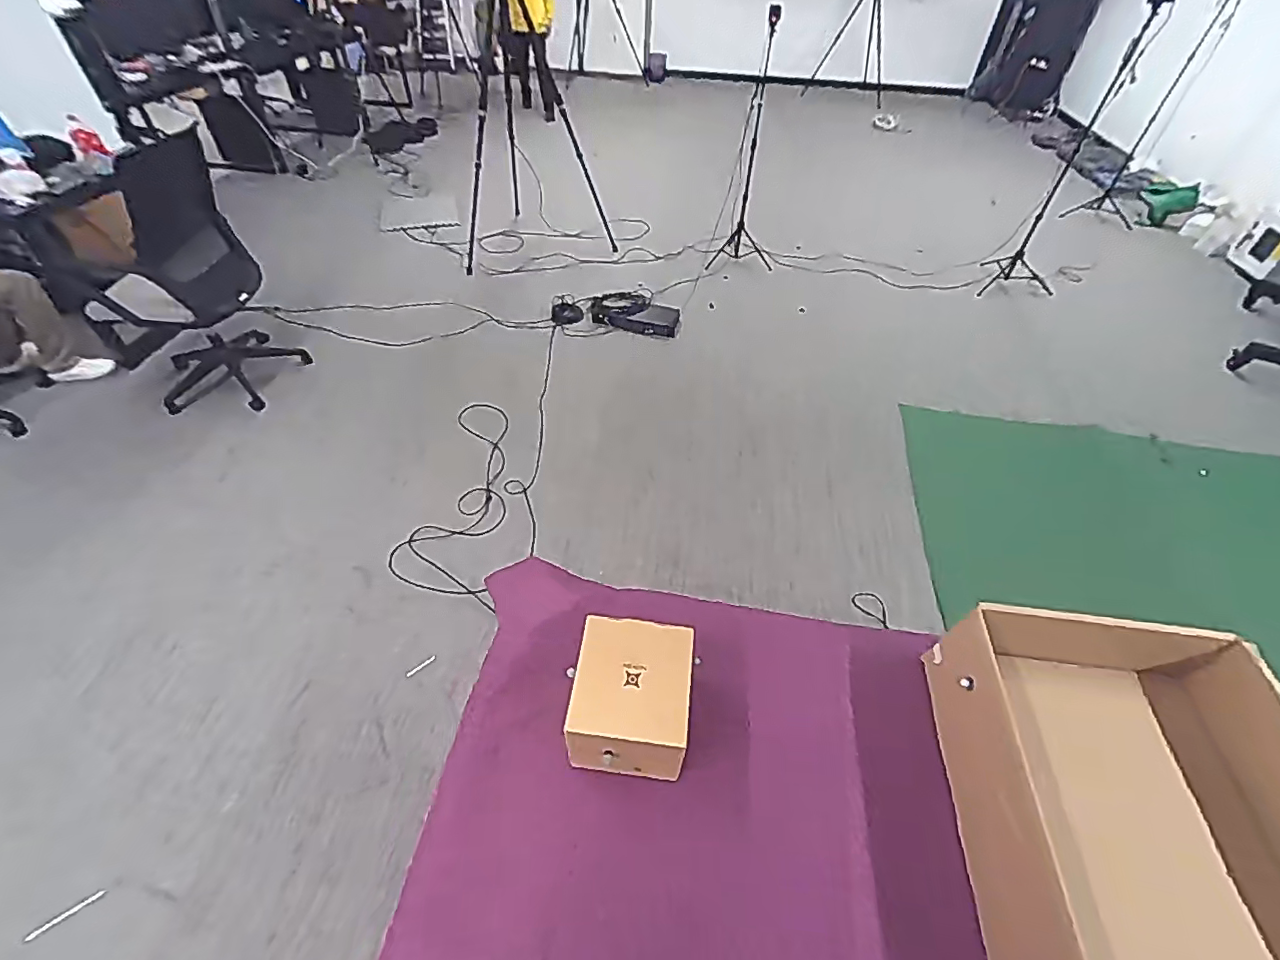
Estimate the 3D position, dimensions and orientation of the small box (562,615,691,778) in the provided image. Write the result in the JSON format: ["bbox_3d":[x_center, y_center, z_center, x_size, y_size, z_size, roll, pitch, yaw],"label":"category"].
[{"bbox_3d":[-0.015,0.333,0.824,0.168,0.176,0.179,6,46,4],"label":"small box"}]
